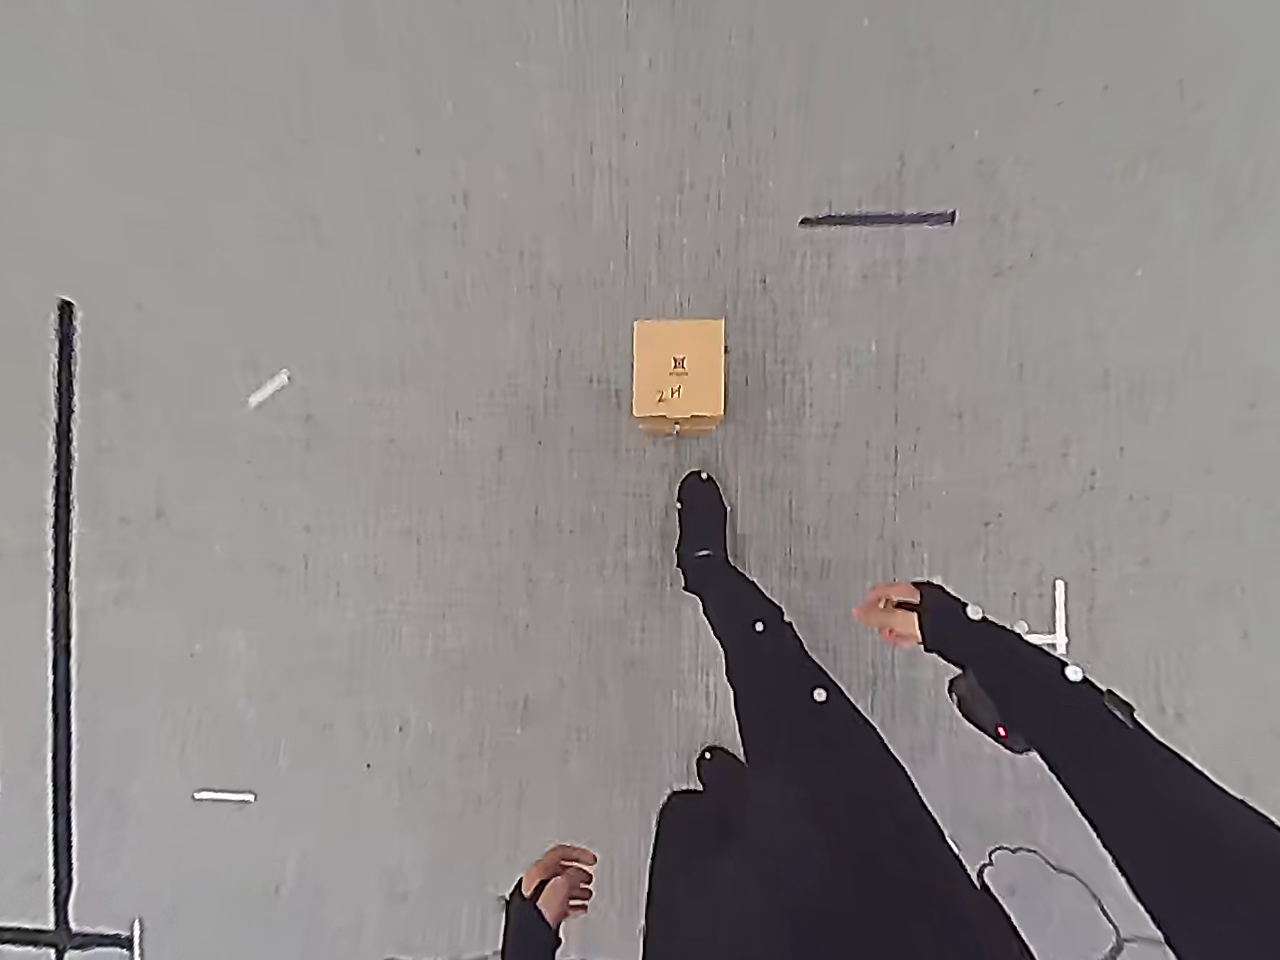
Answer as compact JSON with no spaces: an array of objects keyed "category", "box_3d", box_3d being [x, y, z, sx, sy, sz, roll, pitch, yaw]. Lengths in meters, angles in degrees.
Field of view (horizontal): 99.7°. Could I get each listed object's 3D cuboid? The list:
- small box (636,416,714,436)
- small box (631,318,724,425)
[{"category":"small box","box_3d":[0.080,-0.196,1.215,0.168,0.176,0.179,1,90,4]},{"category":"small box","box_3d":[0.072,-0.205,1.051,0.168,0.176,0.179,1,91,4]}]
